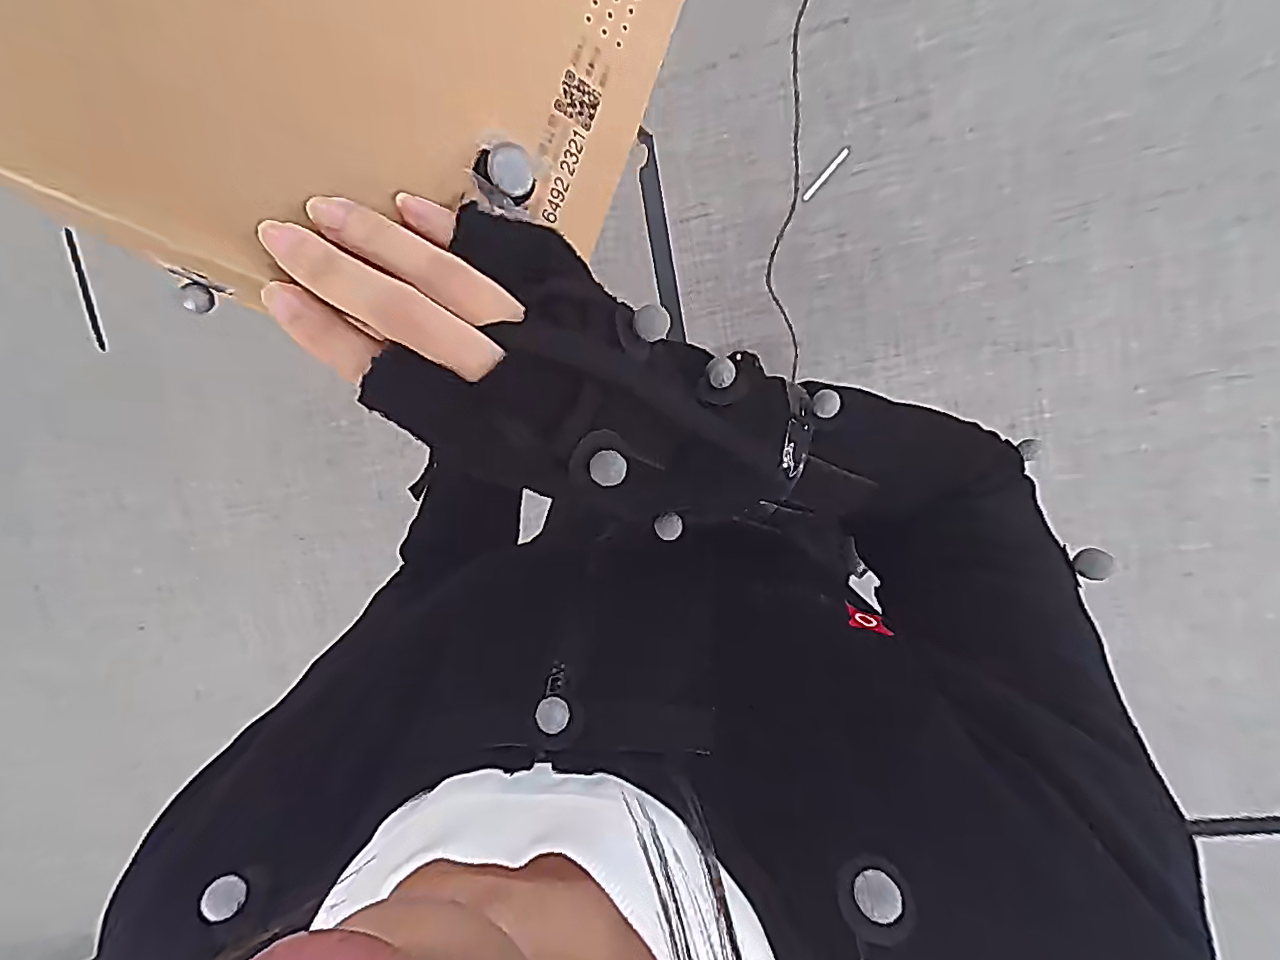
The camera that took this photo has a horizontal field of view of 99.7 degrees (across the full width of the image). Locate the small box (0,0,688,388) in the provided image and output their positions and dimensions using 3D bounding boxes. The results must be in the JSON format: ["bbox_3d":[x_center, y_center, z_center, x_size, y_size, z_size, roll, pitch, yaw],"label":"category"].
[{"bbox_3d":[-0.110,-0.148,0.245,0.176,0.179,0.168,19,90,-30],"label":"small box"}]
